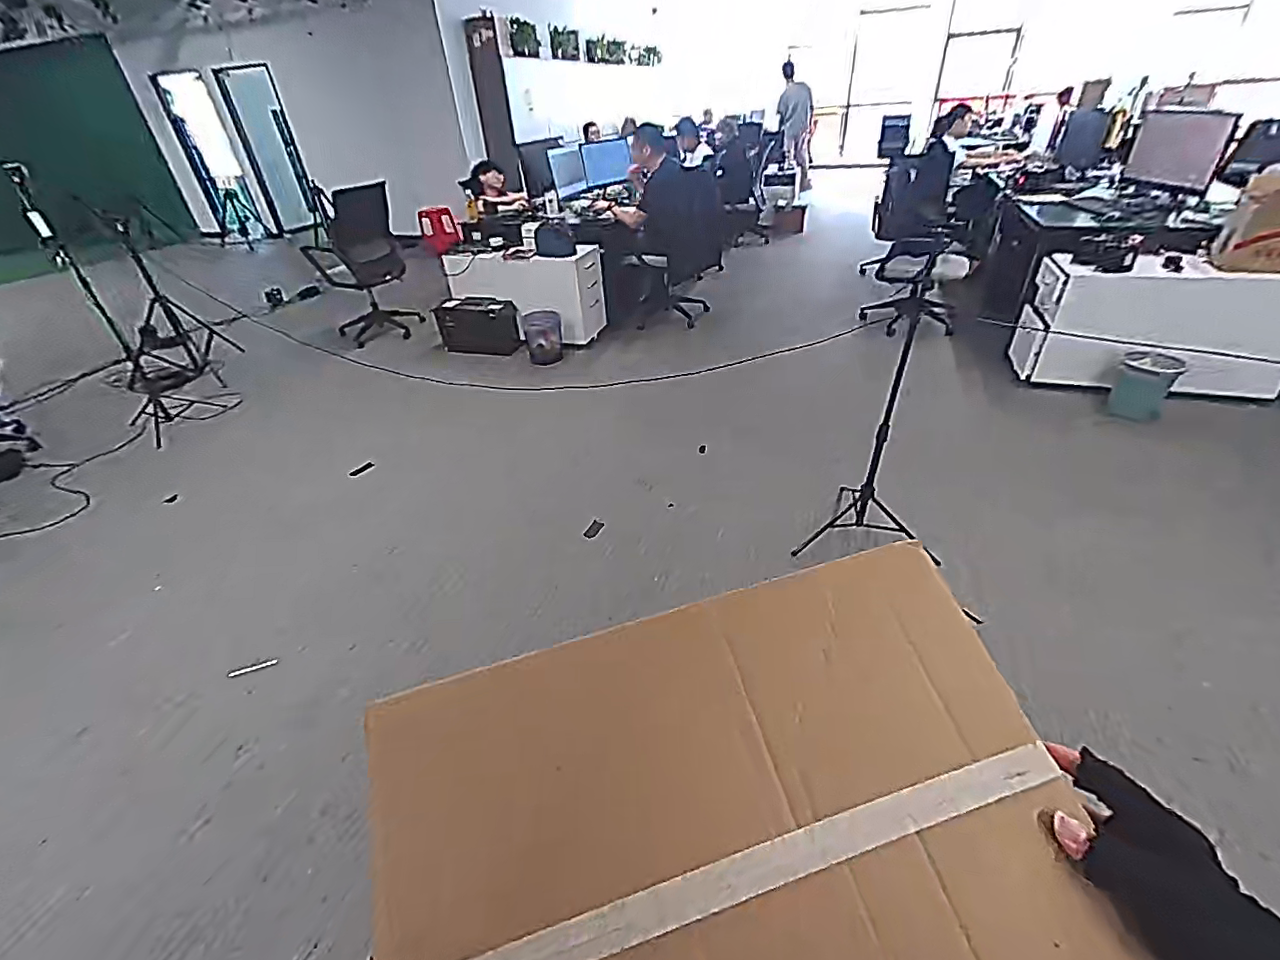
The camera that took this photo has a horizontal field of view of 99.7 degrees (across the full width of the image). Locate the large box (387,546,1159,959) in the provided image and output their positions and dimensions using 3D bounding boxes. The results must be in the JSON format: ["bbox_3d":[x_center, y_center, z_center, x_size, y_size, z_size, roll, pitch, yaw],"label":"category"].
[{"bbox_3d":[0.064,0.301,0.445,0.408,0.320,0.320,-15,62,-8],"label":"large box"}]
